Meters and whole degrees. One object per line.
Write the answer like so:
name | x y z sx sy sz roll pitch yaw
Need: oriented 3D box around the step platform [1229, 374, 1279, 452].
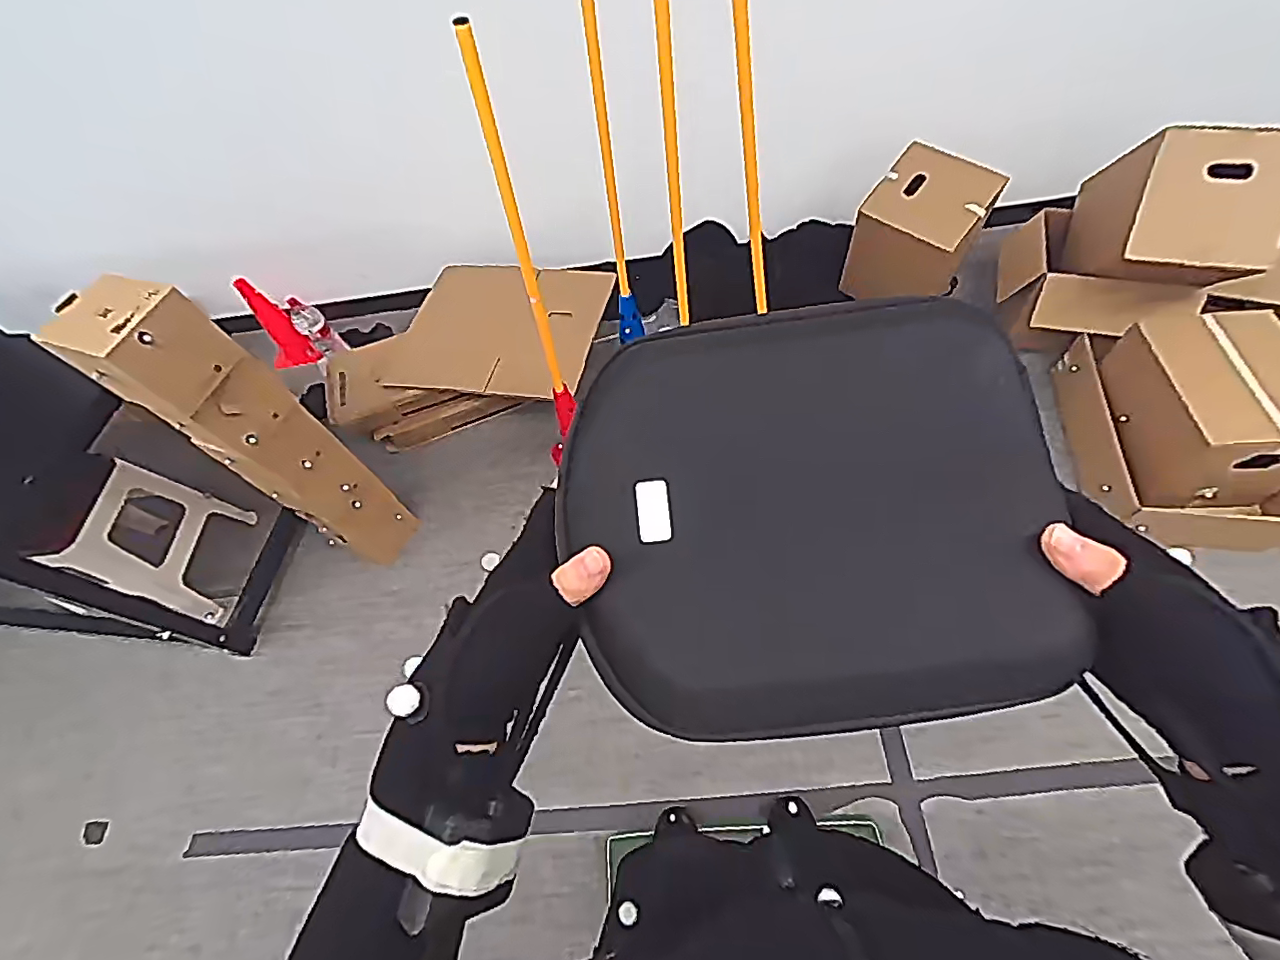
step platform | 2.097 -0.303 1.548 0.684 0.204 0.286 -31 61 -10
